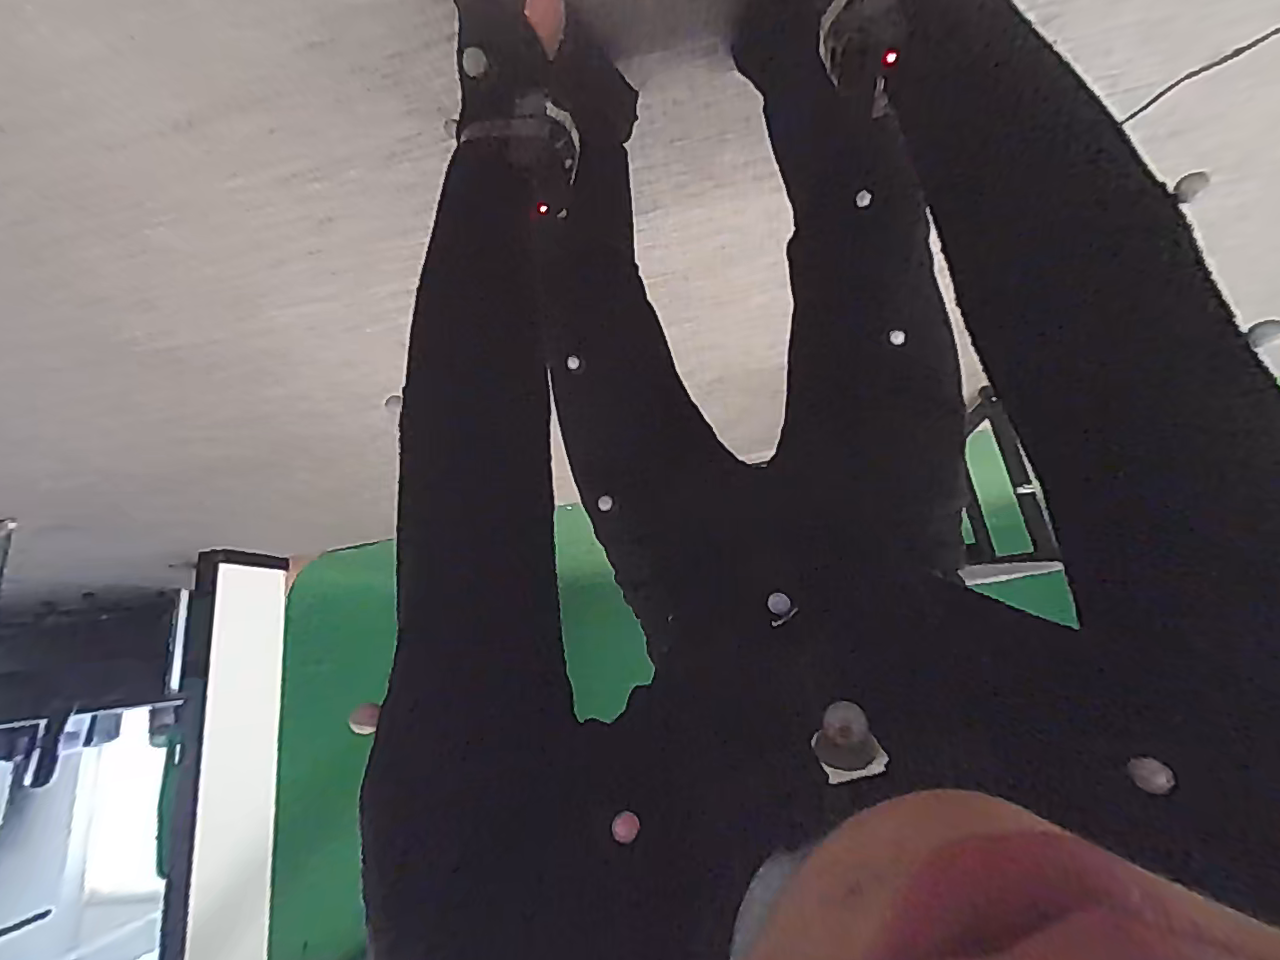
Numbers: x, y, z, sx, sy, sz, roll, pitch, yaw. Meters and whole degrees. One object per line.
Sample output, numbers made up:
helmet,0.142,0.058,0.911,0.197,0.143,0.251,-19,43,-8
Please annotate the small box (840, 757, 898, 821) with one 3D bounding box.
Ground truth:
small box,0.848,1.146,2.014,0.168,0.176,0.179,-11,165,19
